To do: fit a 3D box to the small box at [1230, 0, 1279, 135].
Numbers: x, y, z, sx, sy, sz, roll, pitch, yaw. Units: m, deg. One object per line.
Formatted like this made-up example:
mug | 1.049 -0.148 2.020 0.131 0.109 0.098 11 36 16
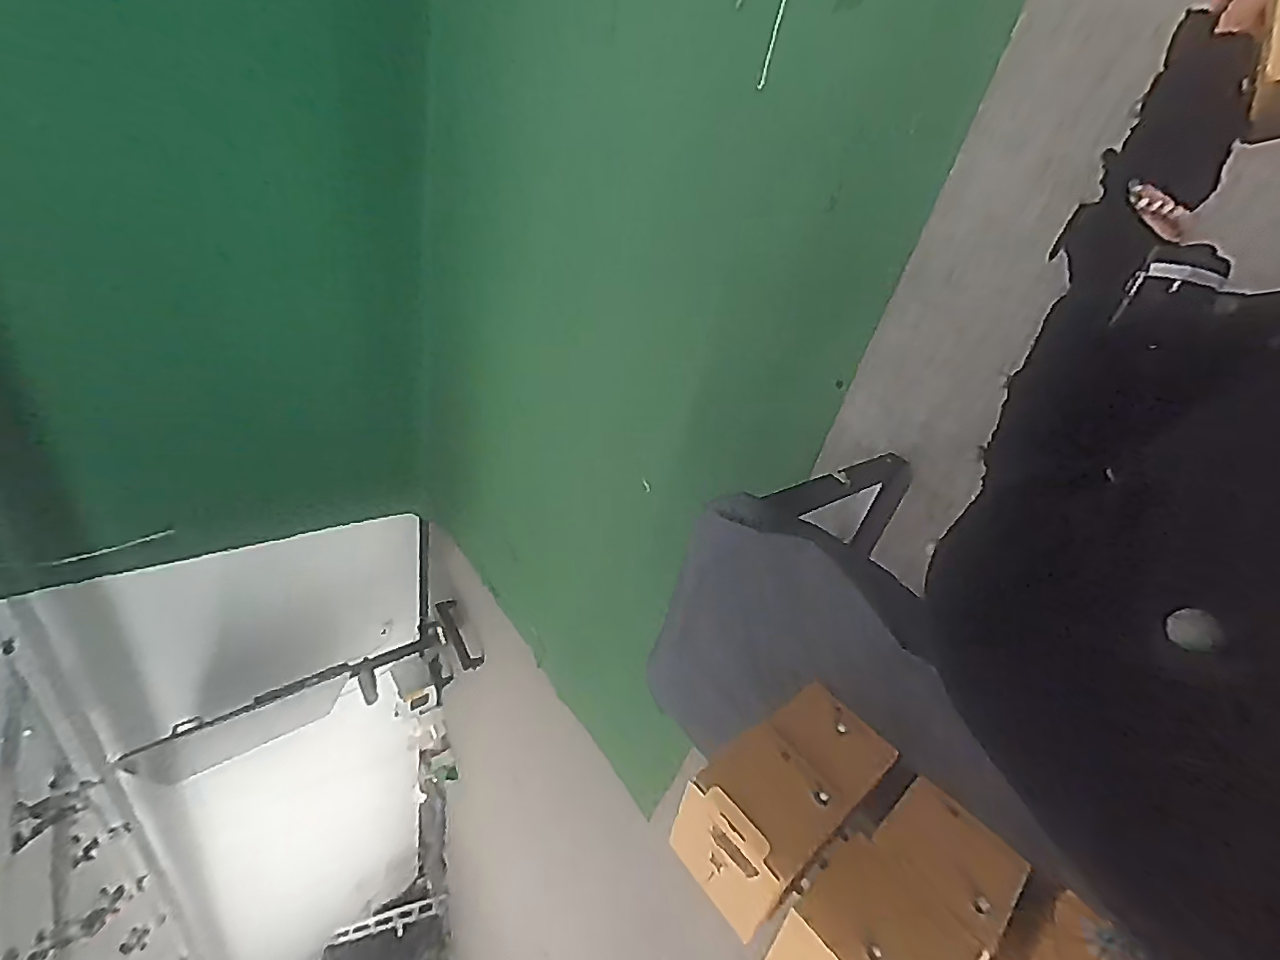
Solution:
small box | 0.457 -0.312 0.283 0.179 0.176 0.168 8 107 43
